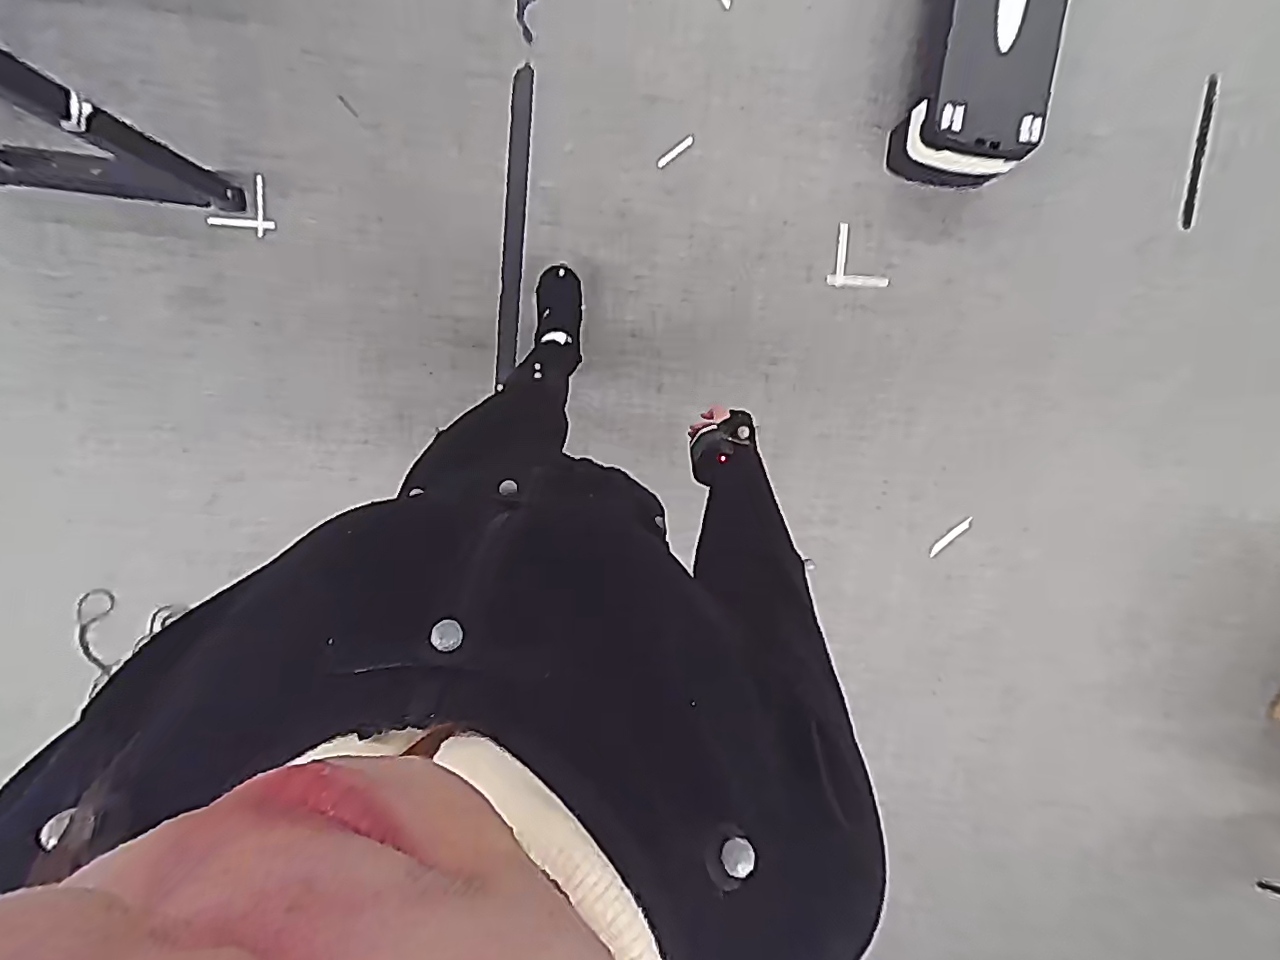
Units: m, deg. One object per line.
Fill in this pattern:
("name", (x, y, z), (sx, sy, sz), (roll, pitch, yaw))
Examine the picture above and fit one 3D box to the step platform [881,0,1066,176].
("step platform", (0.823, -1.130, 1.284), (0.286, 0.204, 0.684), (10, 97, -6))
